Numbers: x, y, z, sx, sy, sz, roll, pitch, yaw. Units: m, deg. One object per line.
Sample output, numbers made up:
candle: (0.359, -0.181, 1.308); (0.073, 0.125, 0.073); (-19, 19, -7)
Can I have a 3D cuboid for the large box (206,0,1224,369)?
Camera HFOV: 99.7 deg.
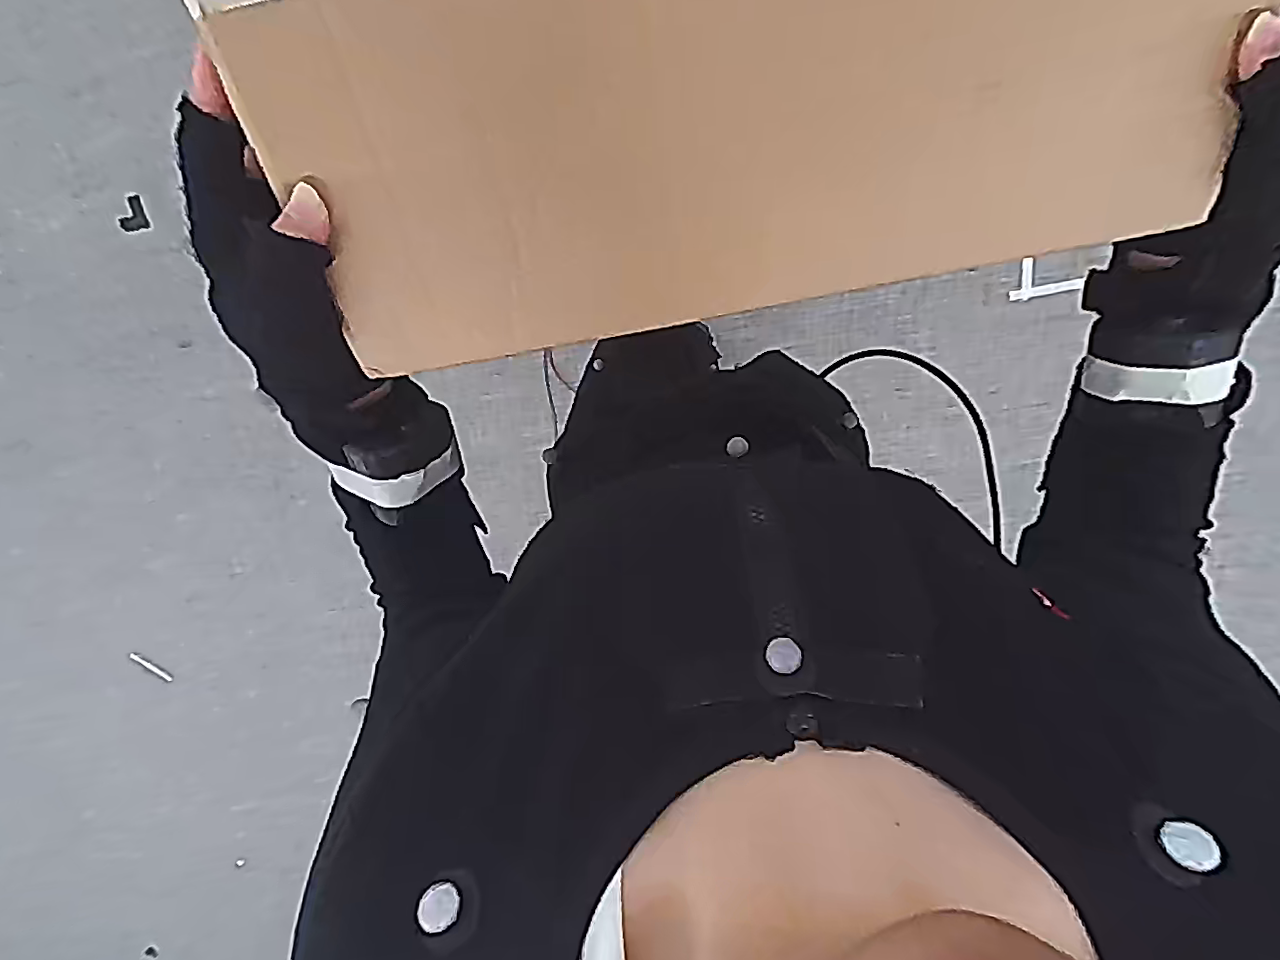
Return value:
large box: (0.024, -0.299, 0.319); (0.408, 0.320, 0.320); (-10, 121, 4)
